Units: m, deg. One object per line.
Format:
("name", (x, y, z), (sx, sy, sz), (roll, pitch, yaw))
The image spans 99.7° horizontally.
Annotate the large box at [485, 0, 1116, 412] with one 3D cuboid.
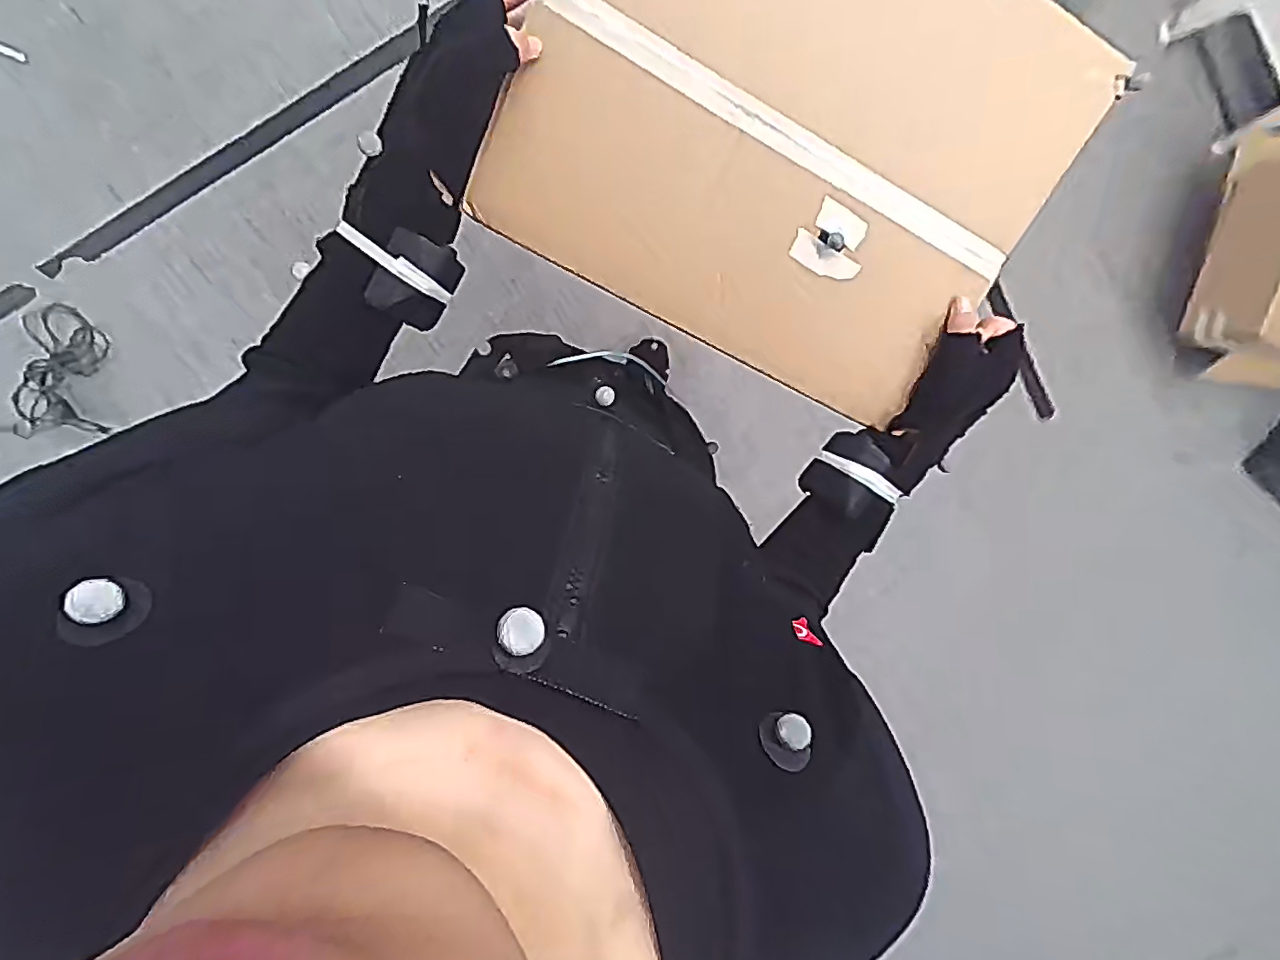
("large box", (0.110, -0.319, 0.553), (0.408, 0.320, 0.320), (24, 110, -12))
